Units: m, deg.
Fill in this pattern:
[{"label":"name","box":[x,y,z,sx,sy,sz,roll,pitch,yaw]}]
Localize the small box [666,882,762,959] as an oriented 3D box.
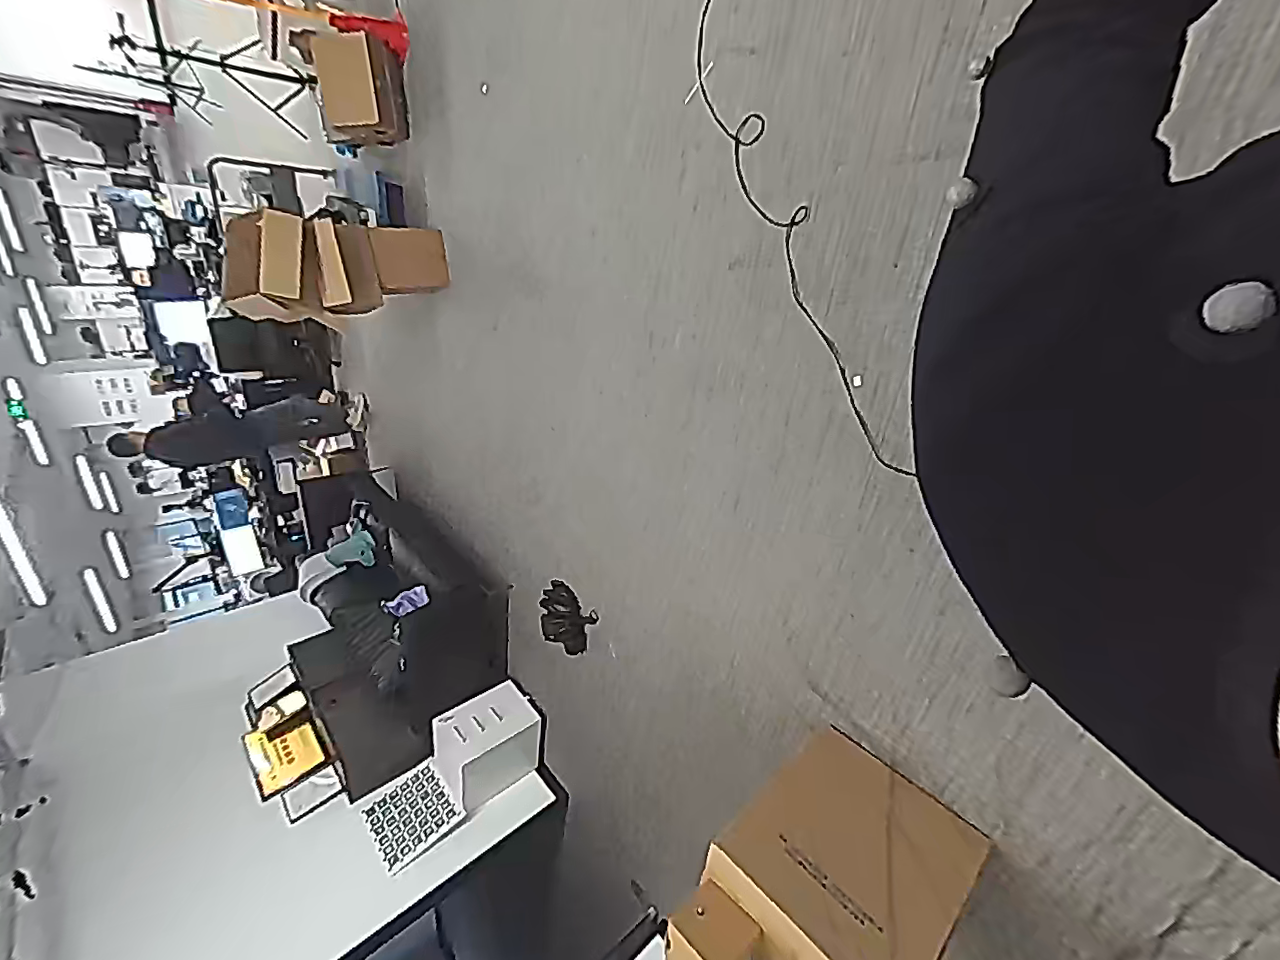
[{"label":"small box","box":[0.191,1.202,1.408,0.179,0.176,0.168,19,114,43]}]
